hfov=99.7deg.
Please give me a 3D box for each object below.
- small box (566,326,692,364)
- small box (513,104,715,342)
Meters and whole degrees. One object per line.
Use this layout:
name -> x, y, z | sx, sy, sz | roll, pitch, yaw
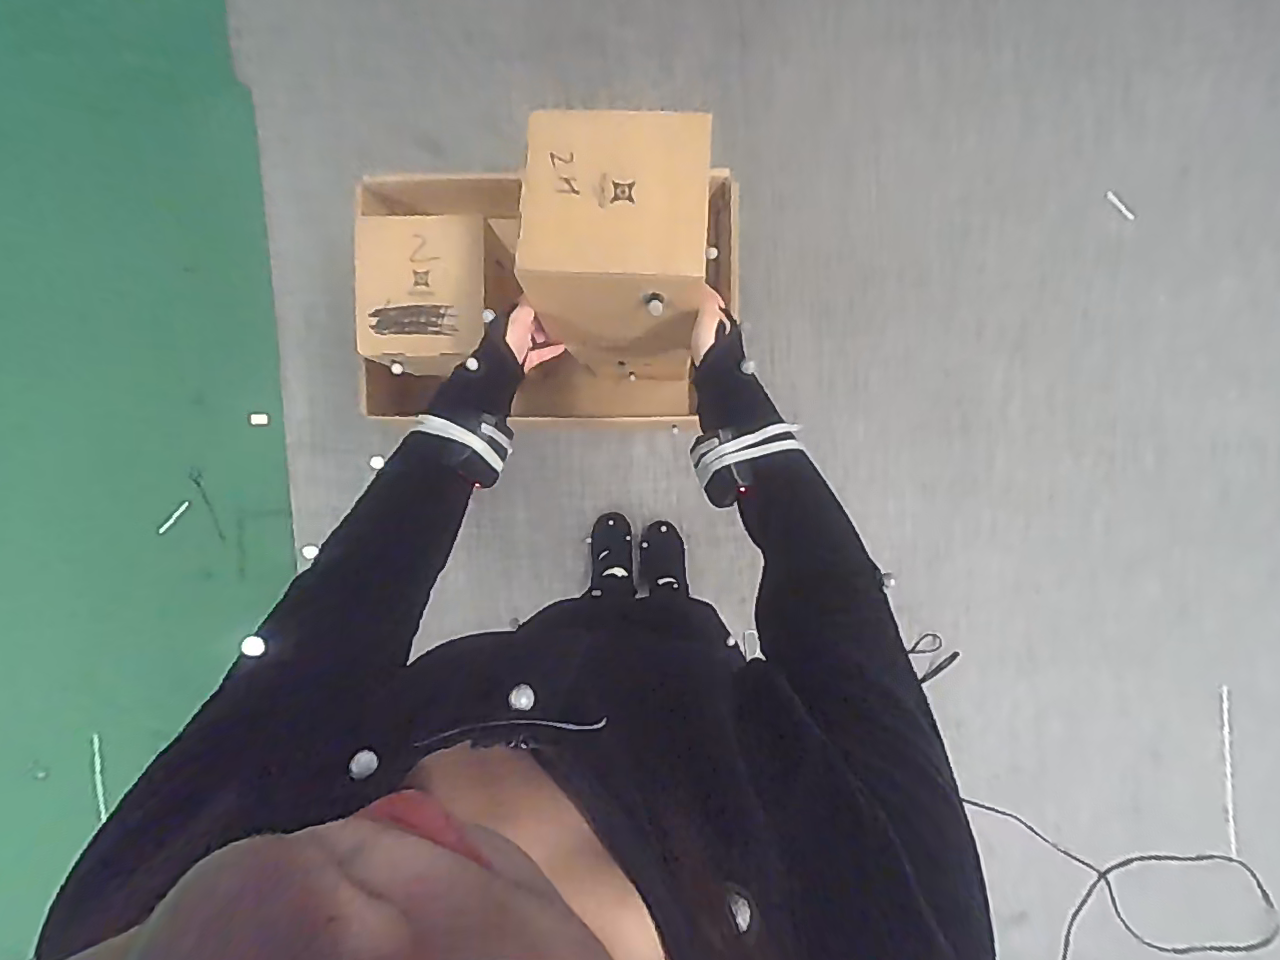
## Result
small box -> -0.010, -0.265, 0.754 | 0.168, 0.176, 0.179 | 3, 94, 3
small box -> -0.019, -0.257, 0.576 | 0.179, 0.176, 0.168 | 4, 82, 4
